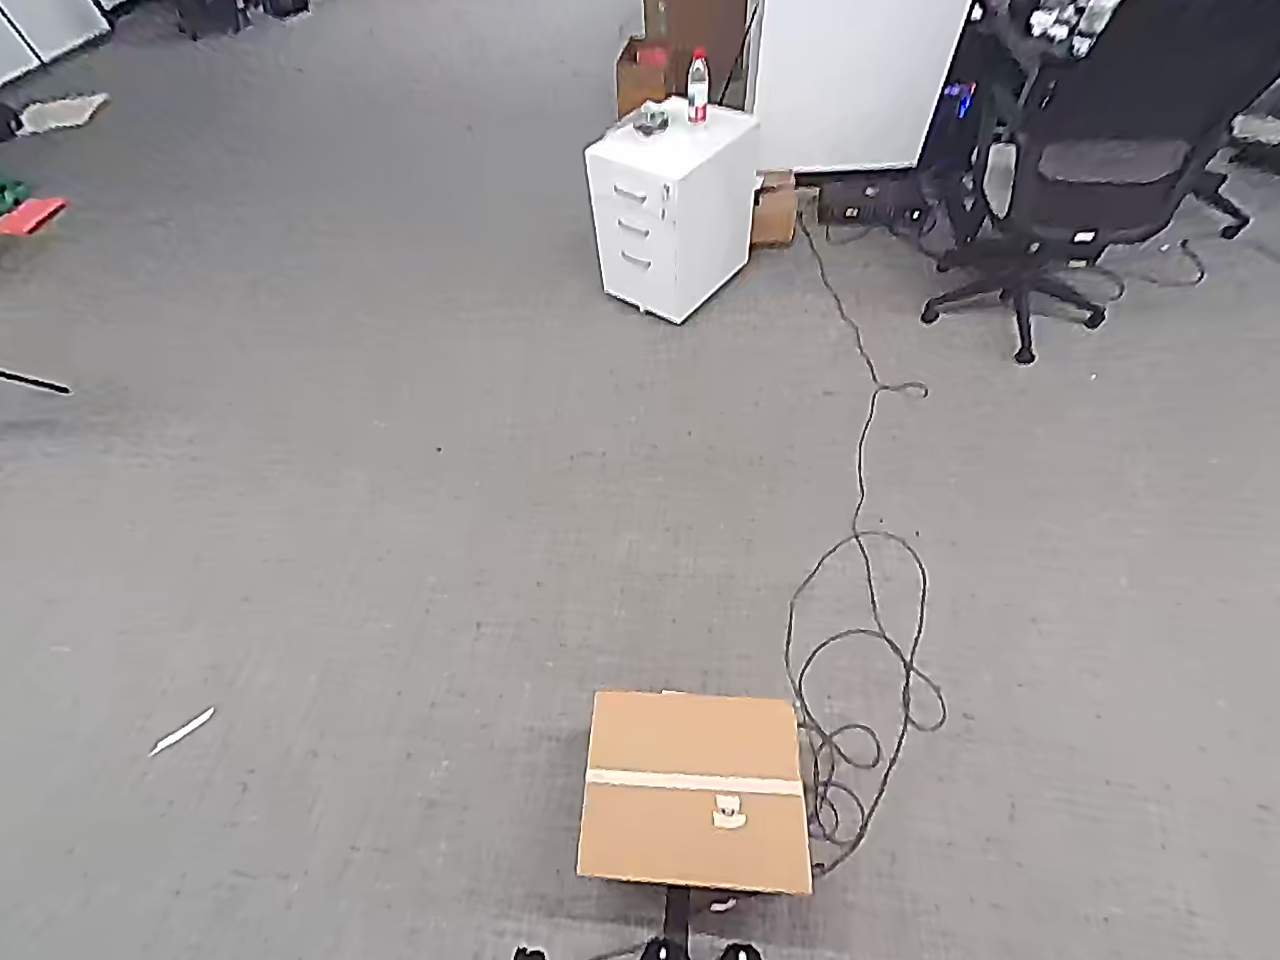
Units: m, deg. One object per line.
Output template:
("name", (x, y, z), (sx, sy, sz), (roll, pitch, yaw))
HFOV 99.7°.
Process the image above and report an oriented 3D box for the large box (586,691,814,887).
("large box", (0.117, 0.652, 1.140), (0.408, 0.320, 0.320), (1, 55, 6))
